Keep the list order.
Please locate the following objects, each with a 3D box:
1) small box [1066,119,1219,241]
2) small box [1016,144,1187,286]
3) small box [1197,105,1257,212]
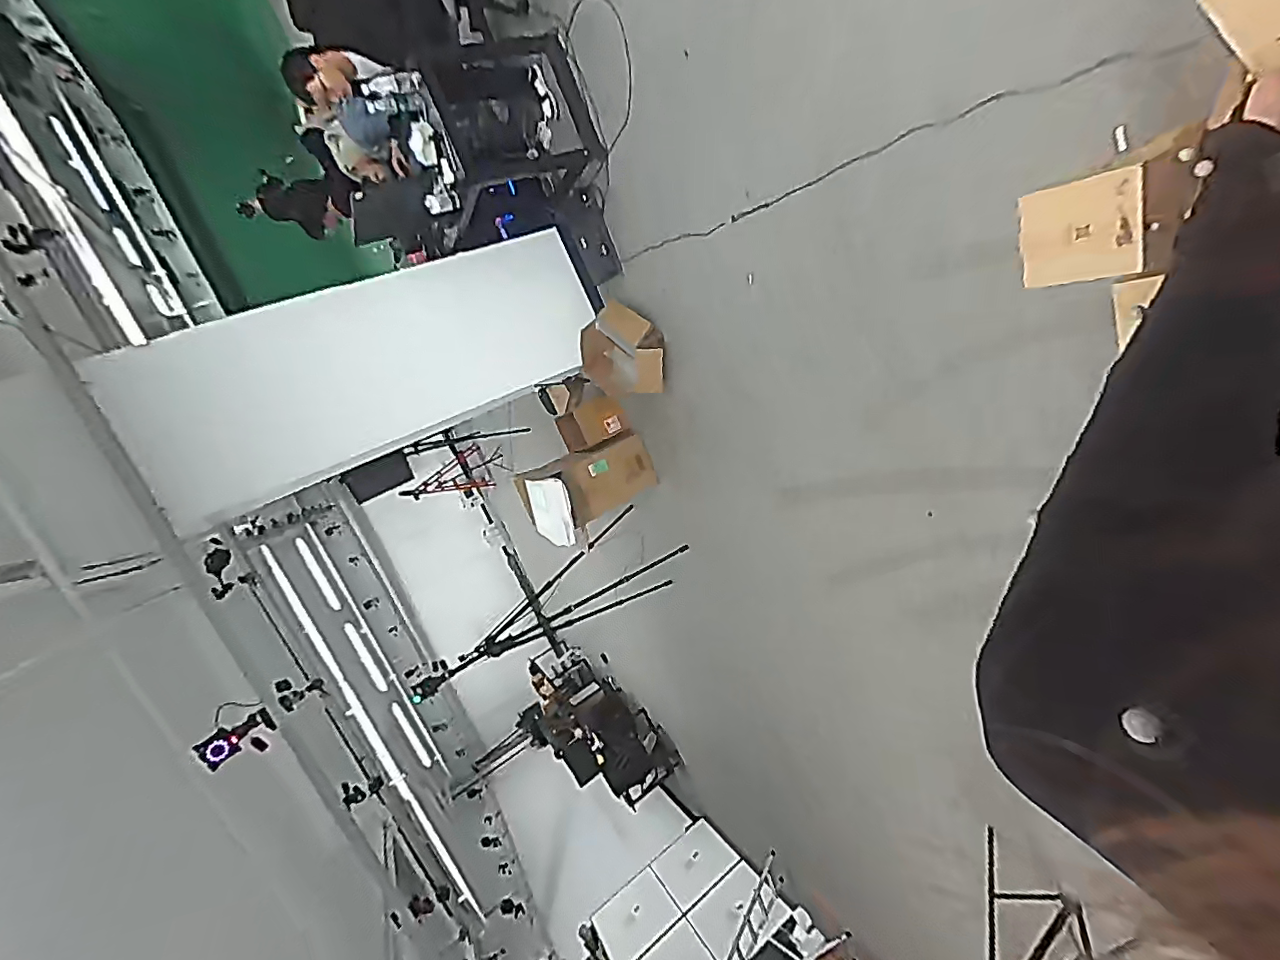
[{"bbox_3d":[0.931,-0.531,1.009,0.168,0.176,0.179,4,120,63],"label":"small box"},{"bbox_3d":[0.800,-0.456,0.944,0.179,0.176,0.168,18,132,60],"label":"small box"},{"bbox_3d":[1.061,-0.602,1.074,0.179,0.176,0.168,1,118,63],"label":"small box"}]
